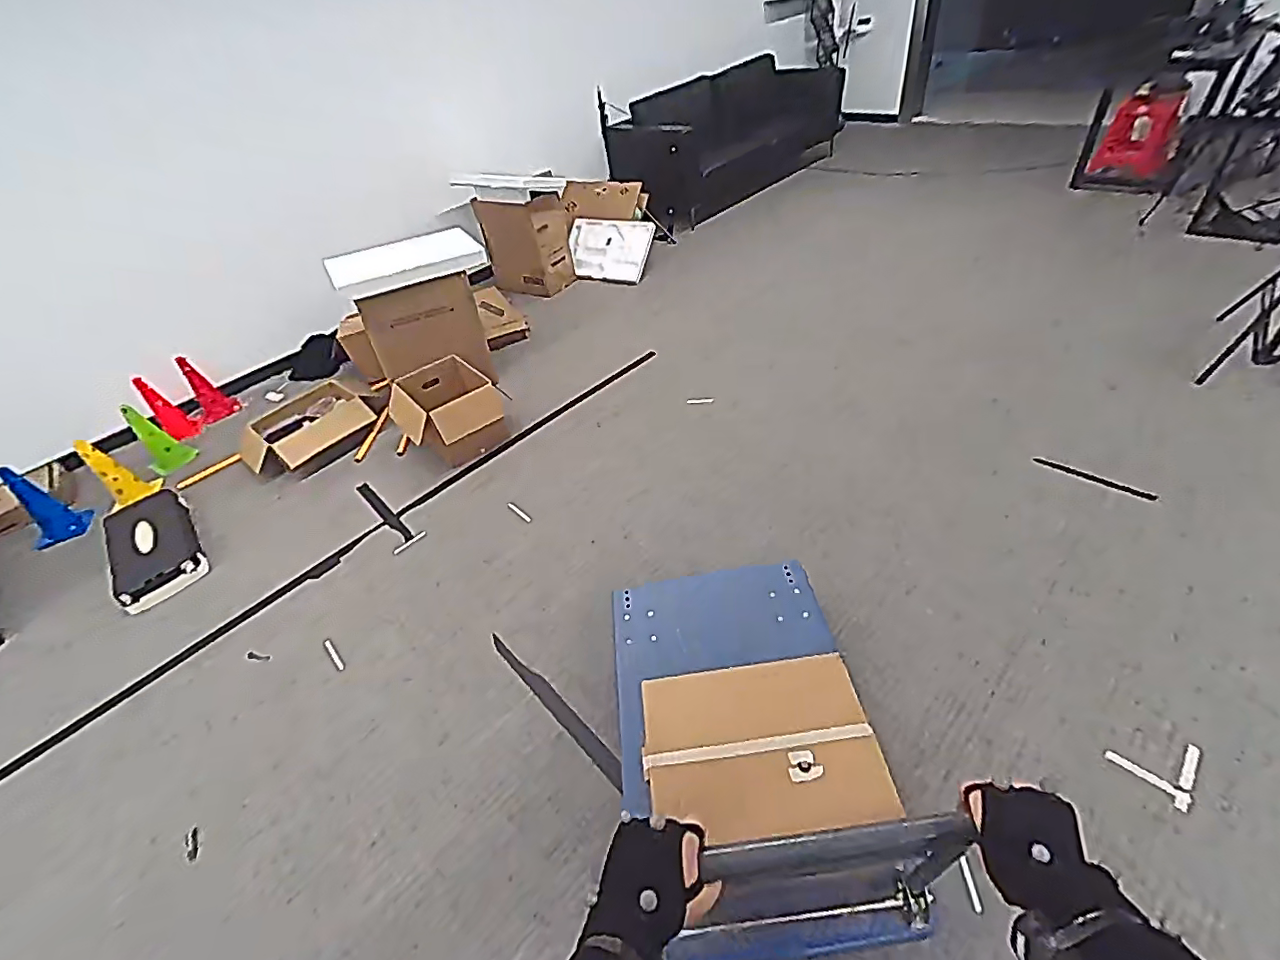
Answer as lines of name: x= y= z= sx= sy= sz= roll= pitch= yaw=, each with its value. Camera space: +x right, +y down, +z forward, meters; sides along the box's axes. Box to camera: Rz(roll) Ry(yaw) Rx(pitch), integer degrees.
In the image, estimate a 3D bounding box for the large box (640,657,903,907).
large box: x=0.226 y=0.594 z=1.065 sx=0.408 sy=0.320 sz=0.320 roll=-8 pitch=43 yaw=0
